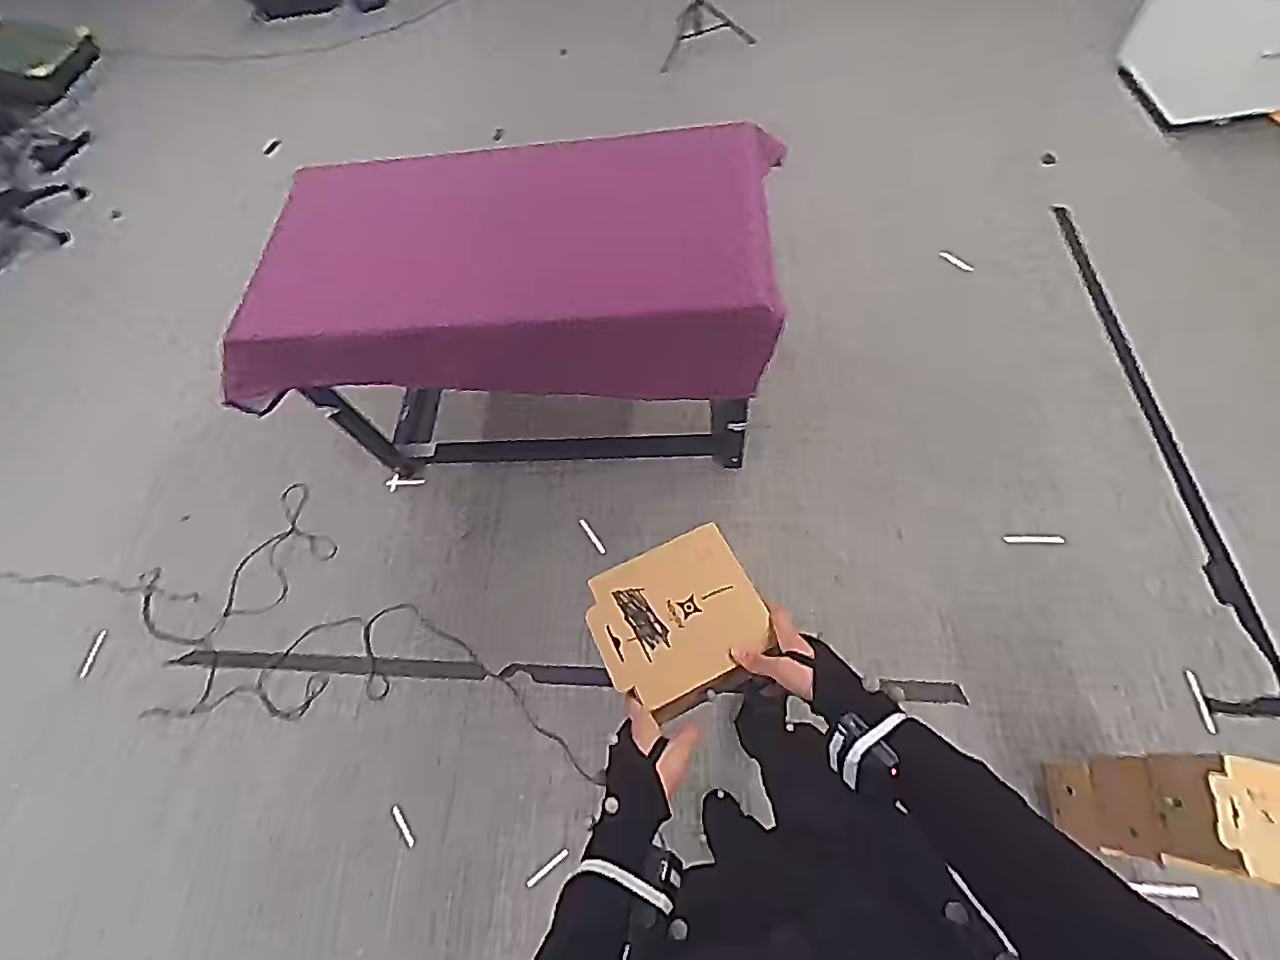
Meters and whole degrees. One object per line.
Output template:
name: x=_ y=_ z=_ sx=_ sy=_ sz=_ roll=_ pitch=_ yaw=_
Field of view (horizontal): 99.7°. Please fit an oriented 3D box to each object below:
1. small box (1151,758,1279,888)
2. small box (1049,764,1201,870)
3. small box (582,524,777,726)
small box: x=0.999 y=0.560 z=0.879 sx=0.179 sy=0.176 sz=0.168 roll=9 pitch=66 yaw=12
small box: x=1.026 y=0.717 z=1.168 sx=0.179 sy=0.176 sz=0.168 roll=3 pitch=64 yaw=9
small box: x=0.048 y=0.191 z=0.688 sx=0.179 sy=0.176 sz=0.168 roll=-25 pitch=62 yaw=-10
